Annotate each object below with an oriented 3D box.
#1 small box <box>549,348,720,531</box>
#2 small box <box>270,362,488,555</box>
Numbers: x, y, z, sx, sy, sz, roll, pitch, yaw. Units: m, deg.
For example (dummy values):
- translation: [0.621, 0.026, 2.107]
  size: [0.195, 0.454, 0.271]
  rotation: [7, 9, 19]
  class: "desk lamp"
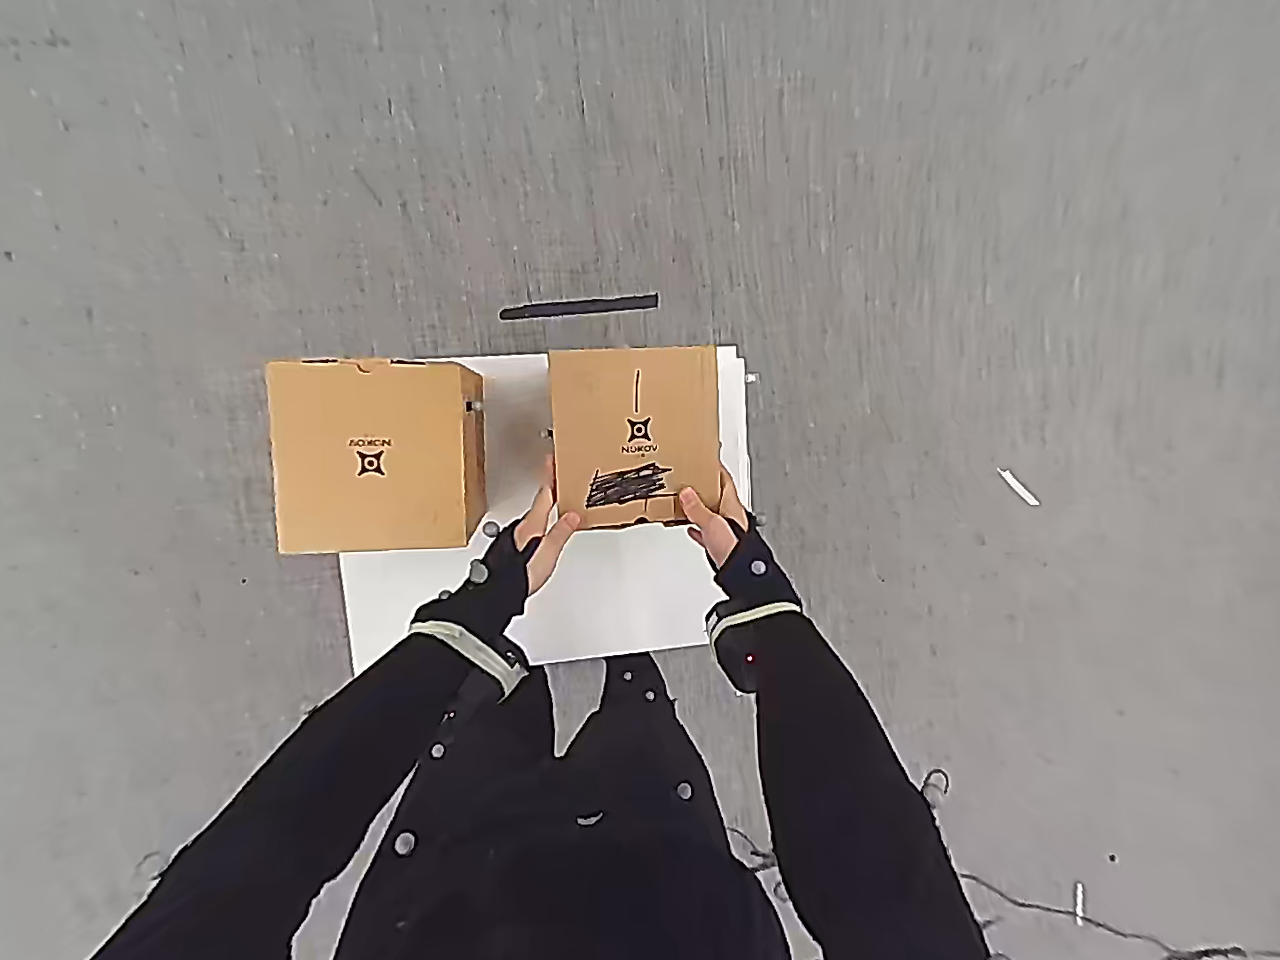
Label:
- translation: [-0.013, -0.049, 0.607]
  size: [0.168, 0.176, 0.179]
  rotation: [-4, 97, -9]
  class: "small box"
- translation: [-0.255, -0.028, 0.571]
  size: [0.168, 0.176, 0.179]
  rotation: [-2, 96, -10]
  class: "small box"
